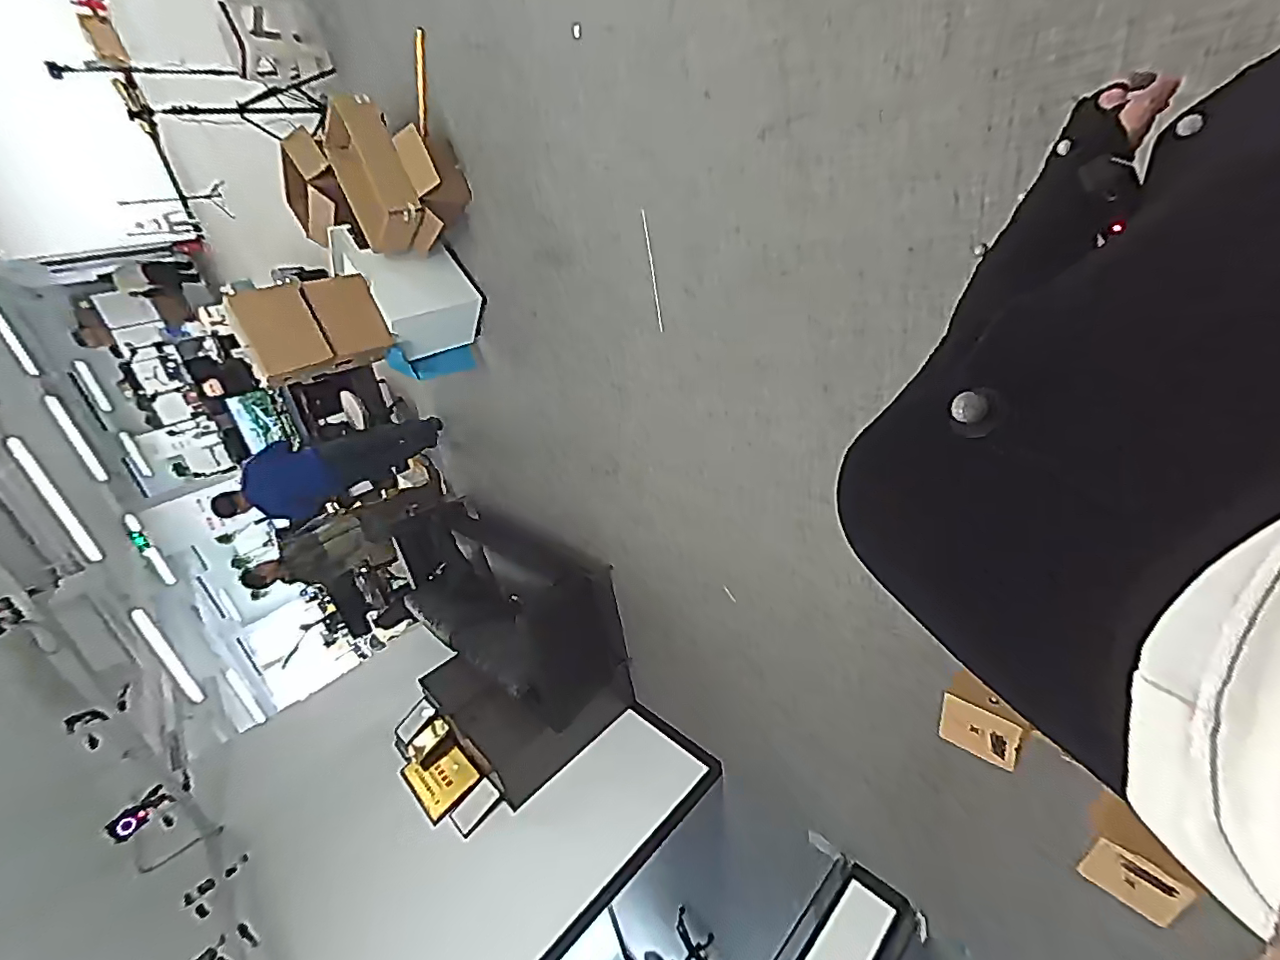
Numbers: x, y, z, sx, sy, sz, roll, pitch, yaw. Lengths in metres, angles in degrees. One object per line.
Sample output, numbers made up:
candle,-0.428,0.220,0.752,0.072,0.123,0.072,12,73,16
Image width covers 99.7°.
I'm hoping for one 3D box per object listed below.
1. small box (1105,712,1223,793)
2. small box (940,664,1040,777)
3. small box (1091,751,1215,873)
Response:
small box,1.411,0.763,1.458,0.179,0.176,0.168,26,133,39
small box,0.914,0.617,1.412,0.179,0.176,0.168,18,125,43
small box,1.290,0.822,1.362,0.179,0.176,0.168,26,132,39
